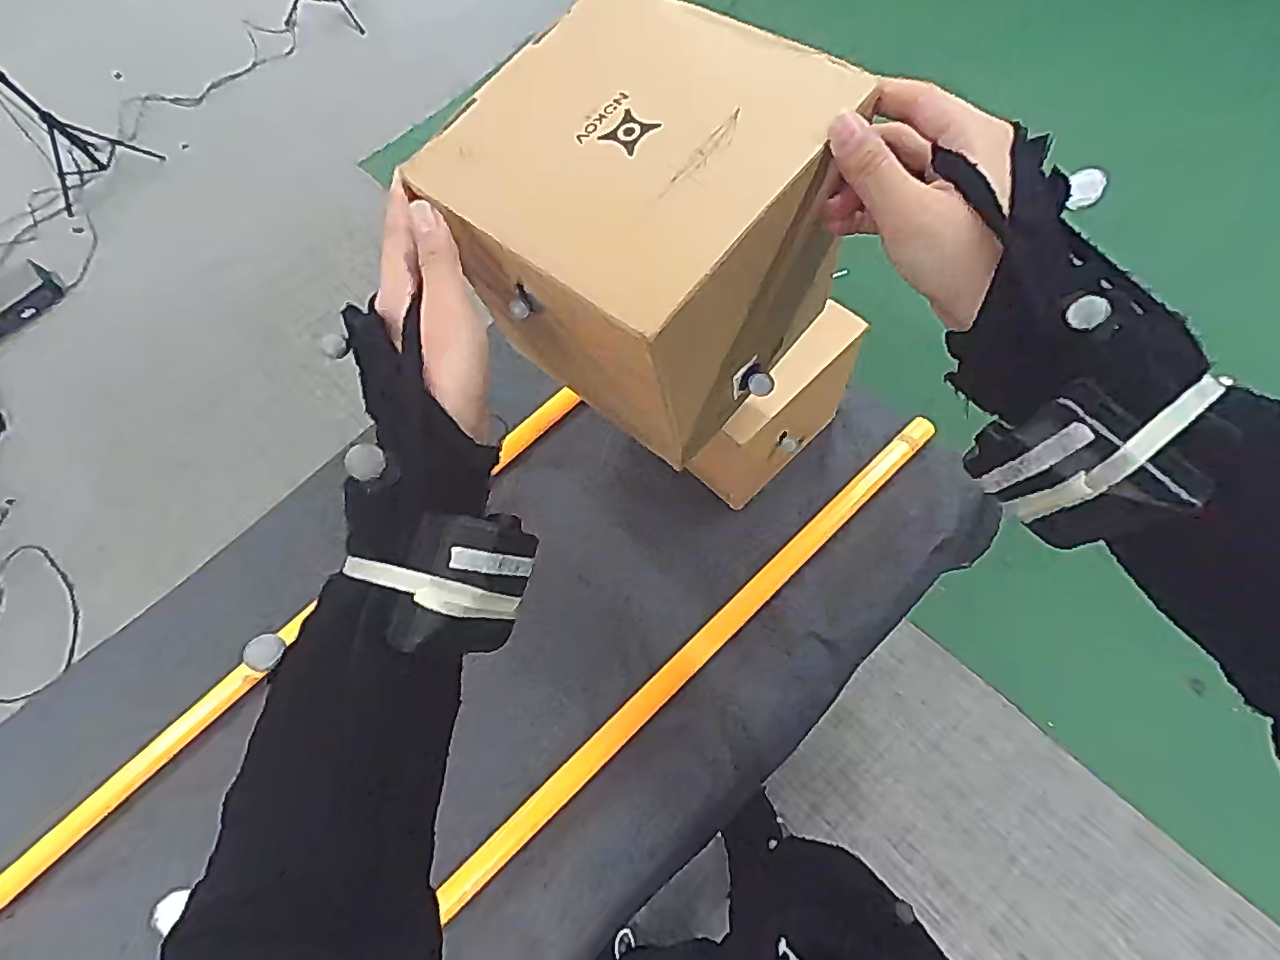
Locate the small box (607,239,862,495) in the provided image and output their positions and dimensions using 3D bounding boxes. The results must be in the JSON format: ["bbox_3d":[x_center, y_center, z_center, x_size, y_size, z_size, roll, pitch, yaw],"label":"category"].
[{"bbox_3d":[0.096,-0.104,0.570,0.168,0.176,0.179,-43,66,-9],"label":"small box"}]
